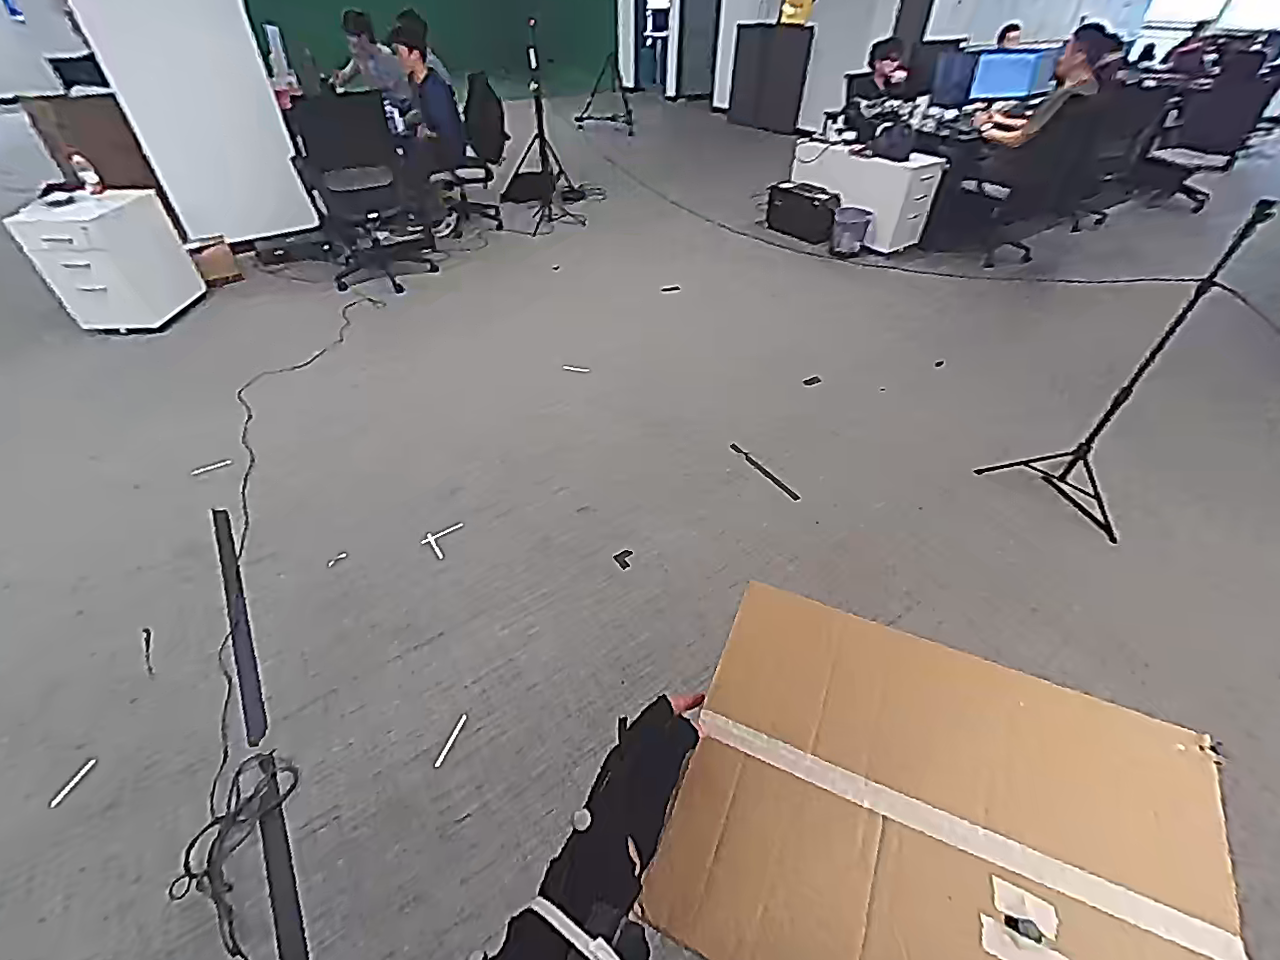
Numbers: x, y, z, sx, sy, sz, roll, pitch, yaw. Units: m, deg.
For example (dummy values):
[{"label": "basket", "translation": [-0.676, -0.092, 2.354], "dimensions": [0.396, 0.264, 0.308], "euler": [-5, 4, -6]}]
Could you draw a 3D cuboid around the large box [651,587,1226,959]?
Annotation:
[{"label": "large box", "translation": [0.257, 0.372, 0.575], "dimensions": [0.408, 0.320, 0.320], "euler": [17, 57, 18]}]
